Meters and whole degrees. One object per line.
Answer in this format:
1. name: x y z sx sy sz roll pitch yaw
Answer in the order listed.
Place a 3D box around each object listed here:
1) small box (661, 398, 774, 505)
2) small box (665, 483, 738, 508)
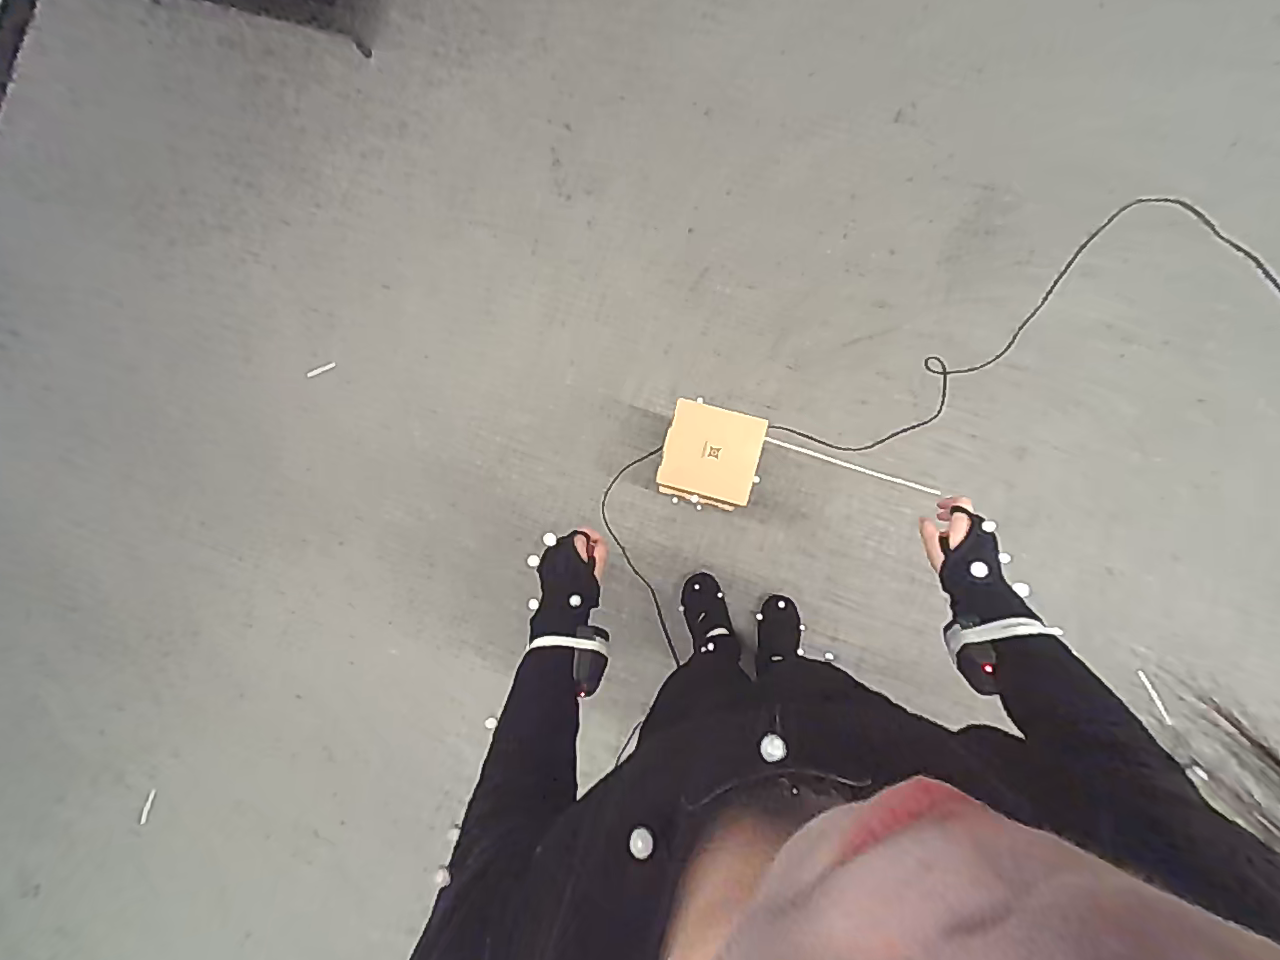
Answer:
1. small box: 0.156 -0.051 1.081 0.179 0.176 0.168 15 89 11
2. small box: 0.167 -0.038 1.243 0.168 0.176 0.179 15 88 9
